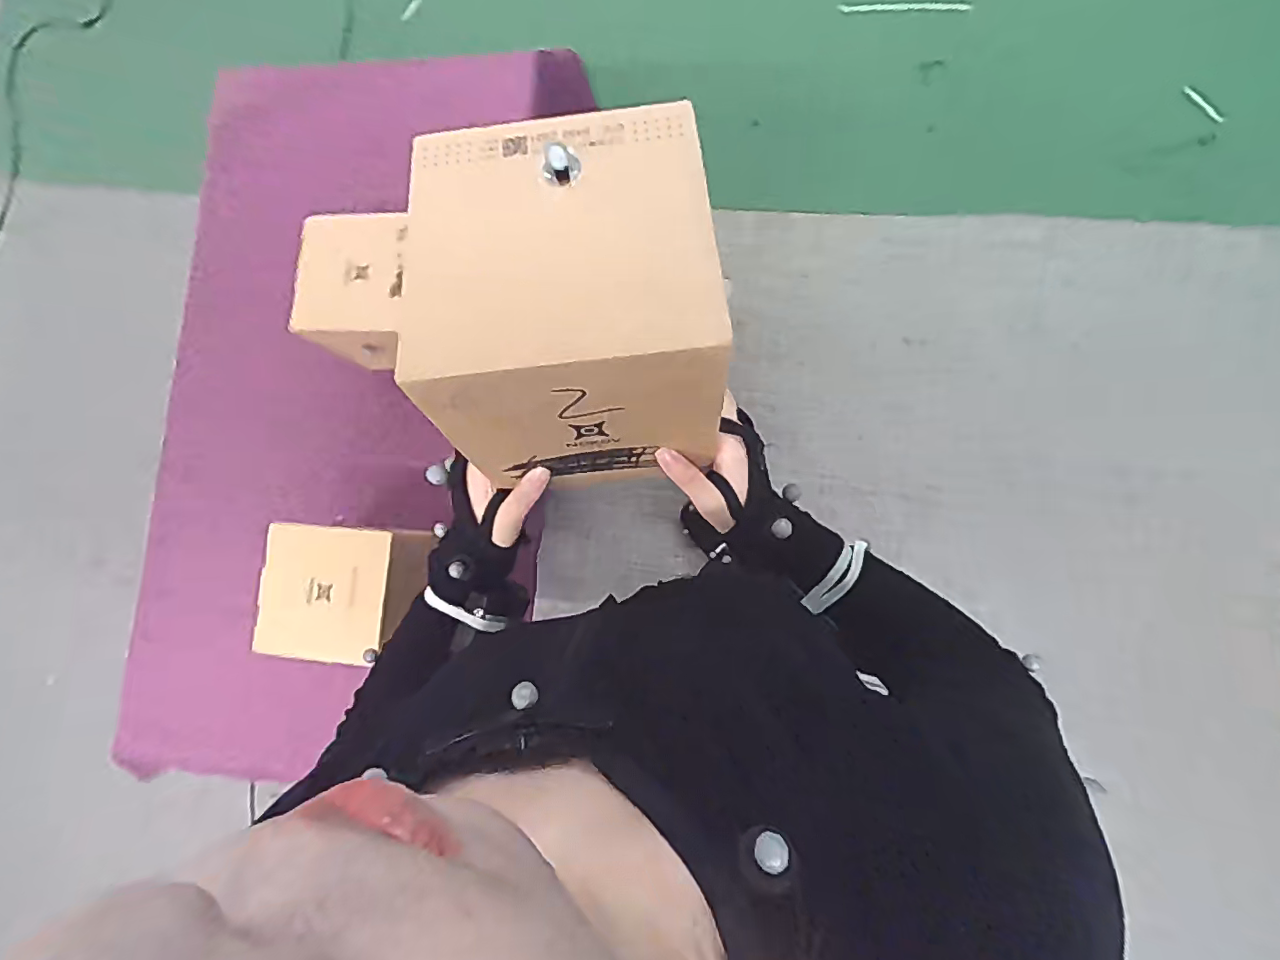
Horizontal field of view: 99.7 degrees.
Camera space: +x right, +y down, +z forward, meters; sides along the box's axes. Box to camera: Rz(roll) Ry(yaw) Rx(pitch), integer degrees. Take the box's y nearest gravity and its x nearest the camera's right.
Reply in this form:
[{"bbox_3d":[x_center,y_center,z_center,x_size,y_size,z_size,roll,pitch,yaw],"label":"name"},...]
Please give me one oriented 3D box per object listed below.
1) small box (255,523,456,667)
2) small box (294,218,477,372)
[{"bbox_3d":[-0.387,0.153,0.762,0.179,0.176,0.168,4,85,8],"label":"small box"},{"bbox_3d":[-0.367,-0.265,0.806,0.179,0.176,0.168,3,85,9],"label":"small box"}]
